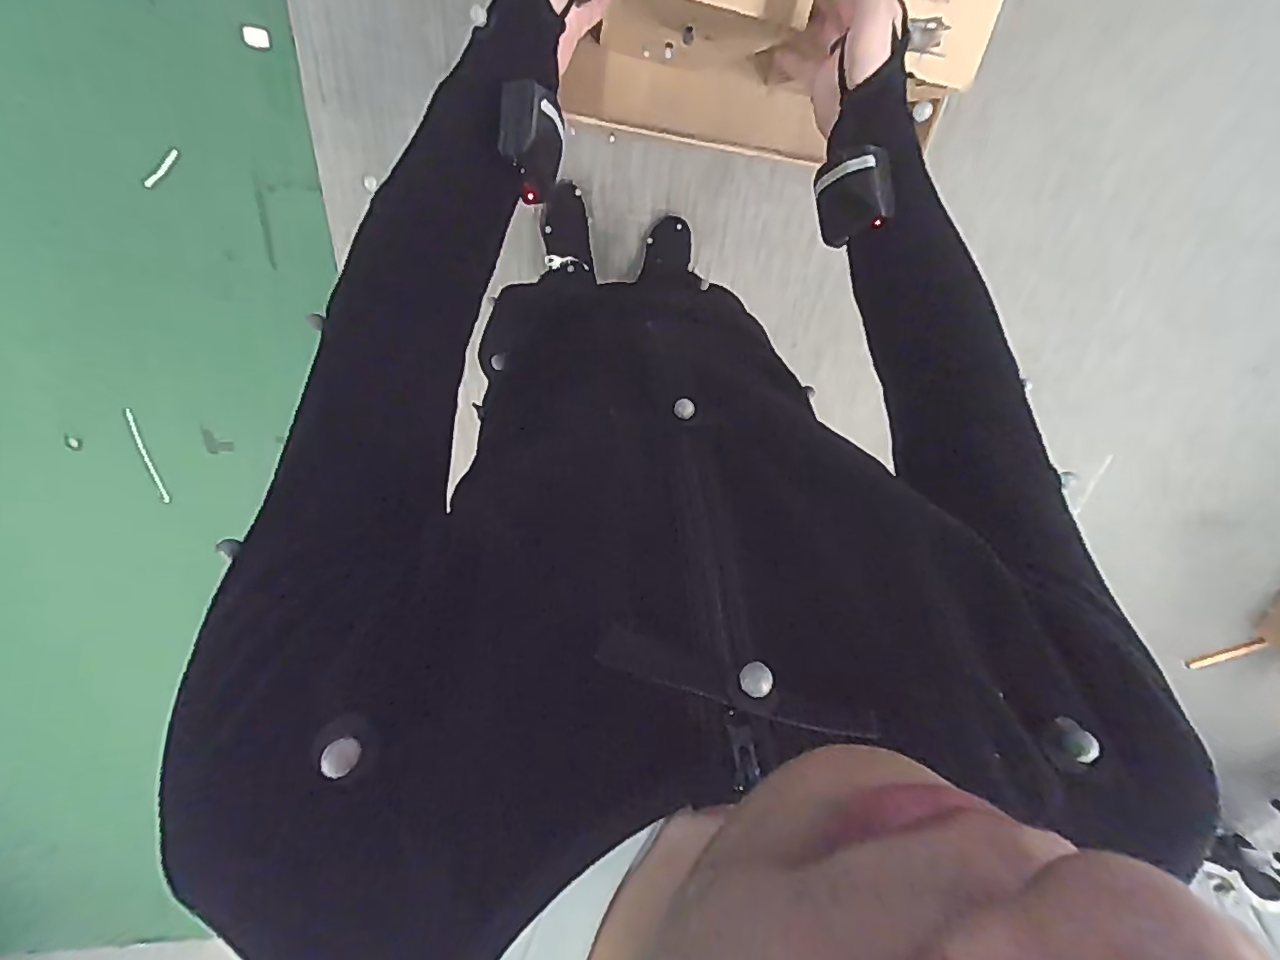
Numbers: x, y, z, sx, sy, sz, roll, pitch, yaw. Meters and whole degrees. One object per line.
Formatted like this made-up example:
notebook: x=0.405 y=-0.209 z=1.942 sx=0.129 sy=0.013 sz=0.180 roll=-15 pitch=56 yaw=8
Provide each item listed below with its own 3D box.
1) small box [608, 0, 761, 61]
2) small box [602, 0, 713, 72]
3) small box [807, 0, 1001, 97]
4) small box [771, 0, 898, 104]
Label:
small box: x=0.056 y=-0.619 z=0.634 sx=0.168 sy=0.176 sz=0.179 roll=5 pitch=122 yaw=-11
small box: x=0.040 y=-0.713 z=0.767 sx=0.168 sy=0.176 sz=0.179 roll=8 pitch=121 yaw=-9
small box: x=0.328 y=-0.600 z=0.676 sx=0.168 sy=0.176 sz=0.179 roll=5 pitch=121 yaw=-9
small box: x=0.312 y=-0.686 z=0.815 sx=0.168 sy=0.176 sz=0.179 roll=5 pitch=121 yaw=-9
